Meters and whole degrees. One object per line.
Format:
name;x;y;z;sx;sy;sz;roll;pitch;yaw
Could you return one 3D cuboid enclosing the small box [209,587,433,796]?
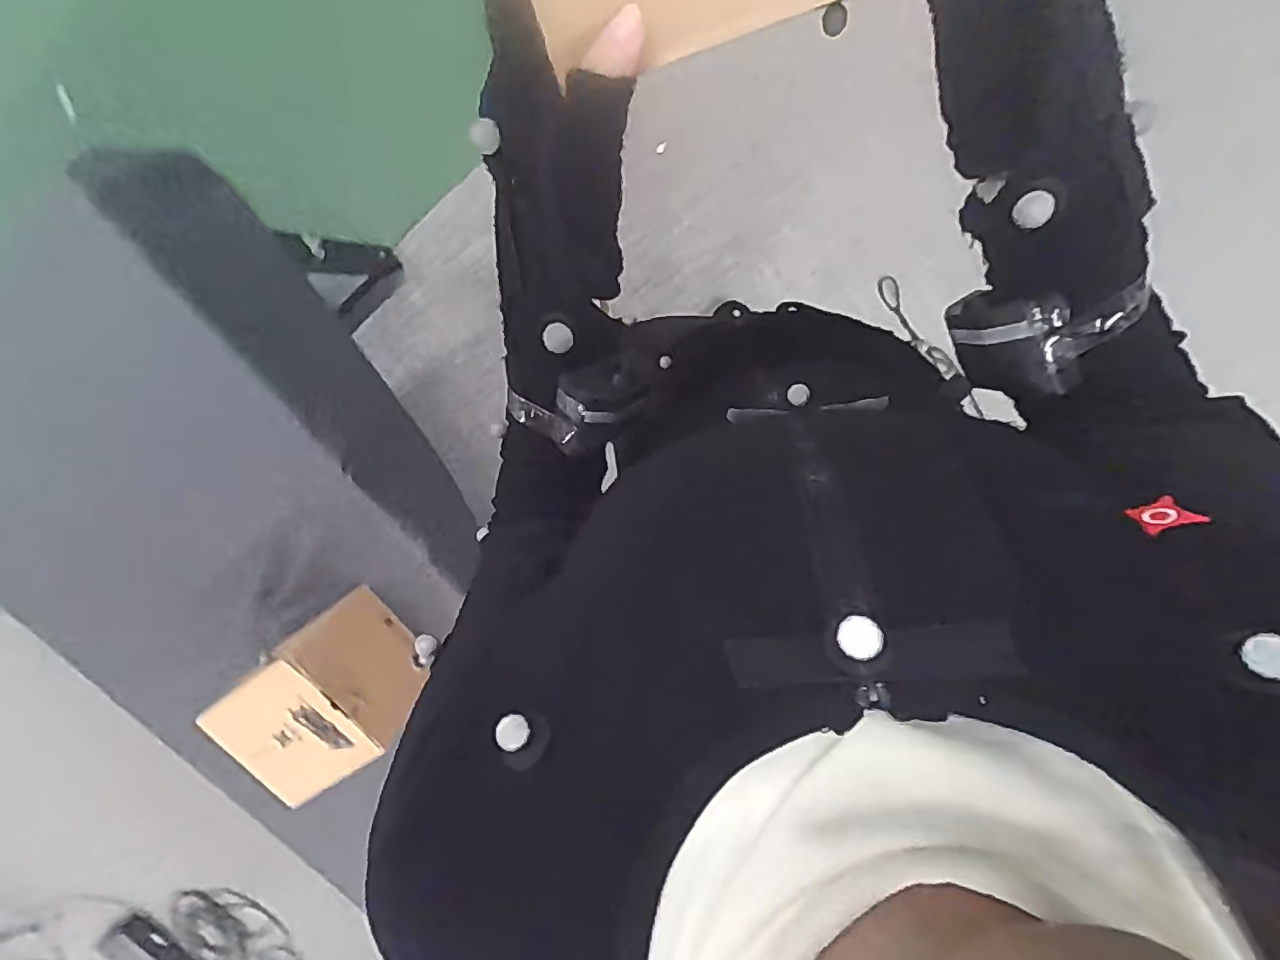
small box;-0.413;0.278;0.740;0.179;0.176;0.168;-34;103;15
